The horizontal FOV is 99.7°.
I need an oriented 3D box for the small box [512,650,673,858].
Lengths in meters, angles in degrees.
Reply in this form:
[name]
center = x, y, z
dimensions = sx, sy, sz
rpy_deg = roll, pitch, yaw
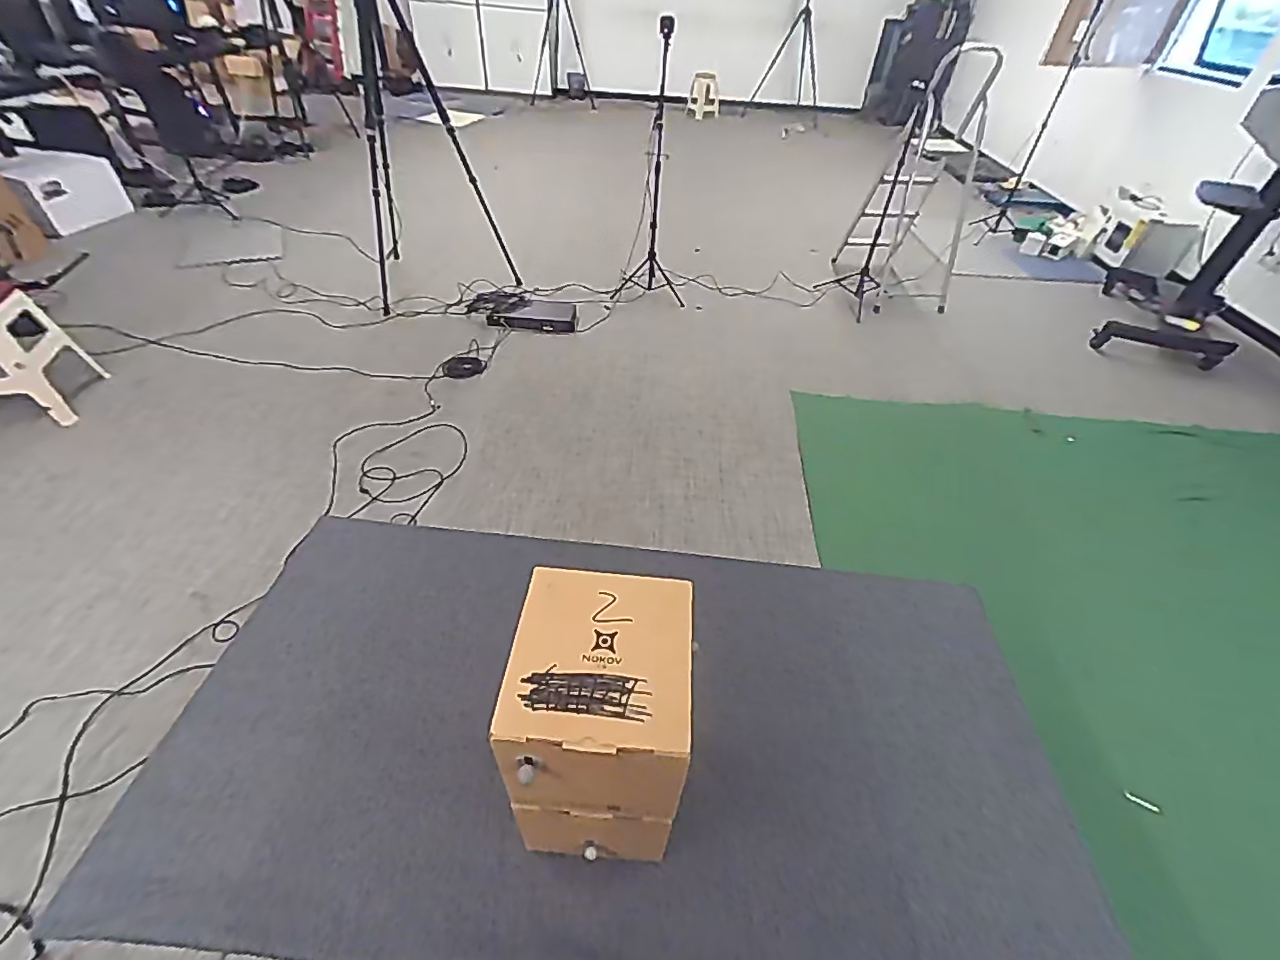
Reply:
[small box]
center = -0.051, 0.337, 0.667
dimensions = 0.168, 0.176, 0.179
rpy_deg = 5, 44, 1
